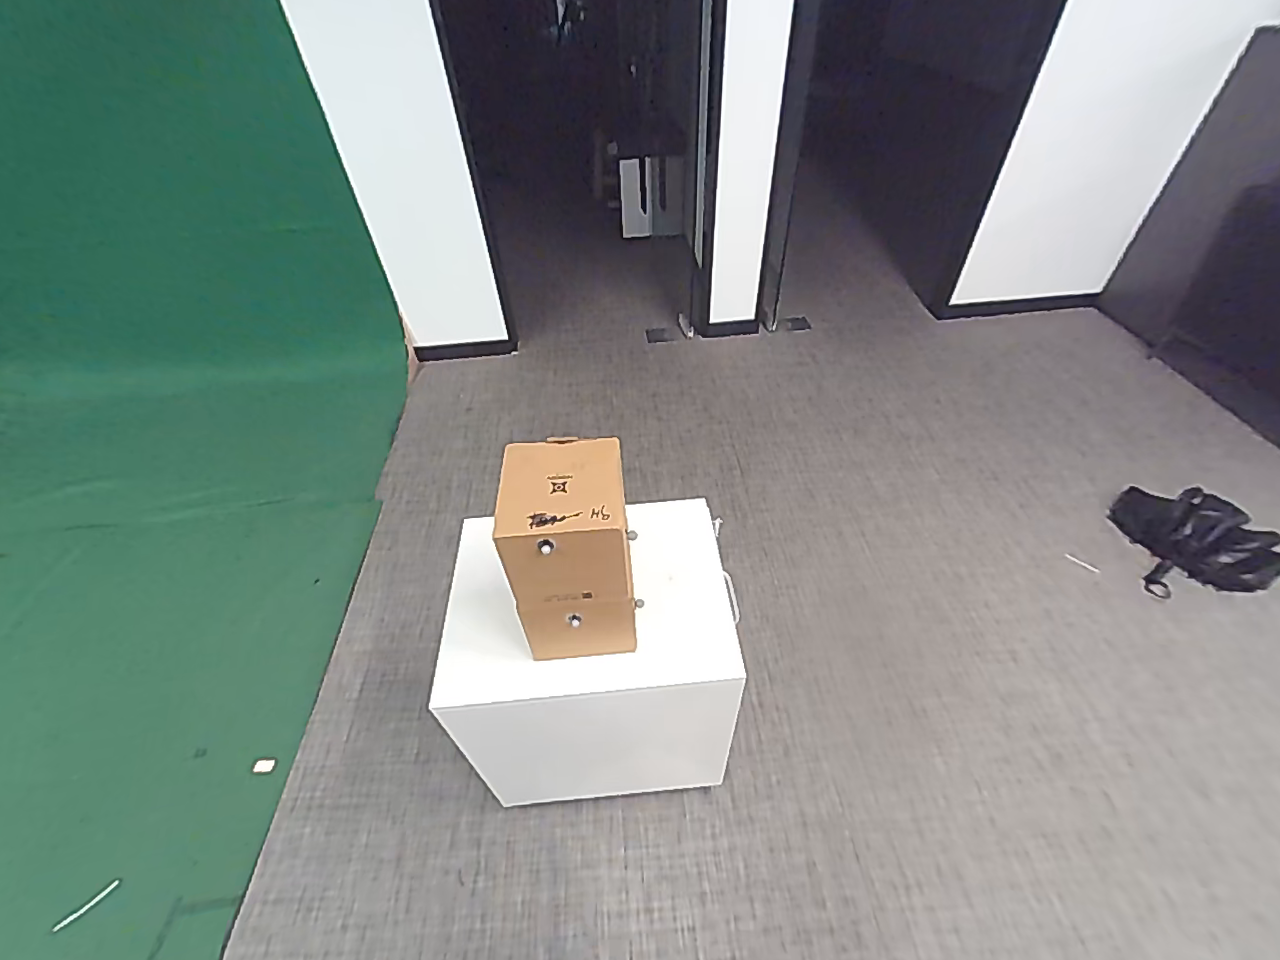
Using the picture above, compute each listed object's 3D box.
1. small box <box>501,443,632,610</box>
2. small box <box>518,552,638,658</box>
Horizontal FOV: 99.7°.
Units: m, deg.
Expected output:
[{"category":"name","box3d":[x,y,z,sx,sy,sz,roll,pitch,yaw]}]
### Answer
[{"category":"small box","box3d":[-0.101,0.068,0.798,0.168,0.176,0.179,-5,46,-4]},{"category":"small box","box3d":[-0.098,0.184,0.910,0.179,0.176,0.168,-4,45,-3]}]
